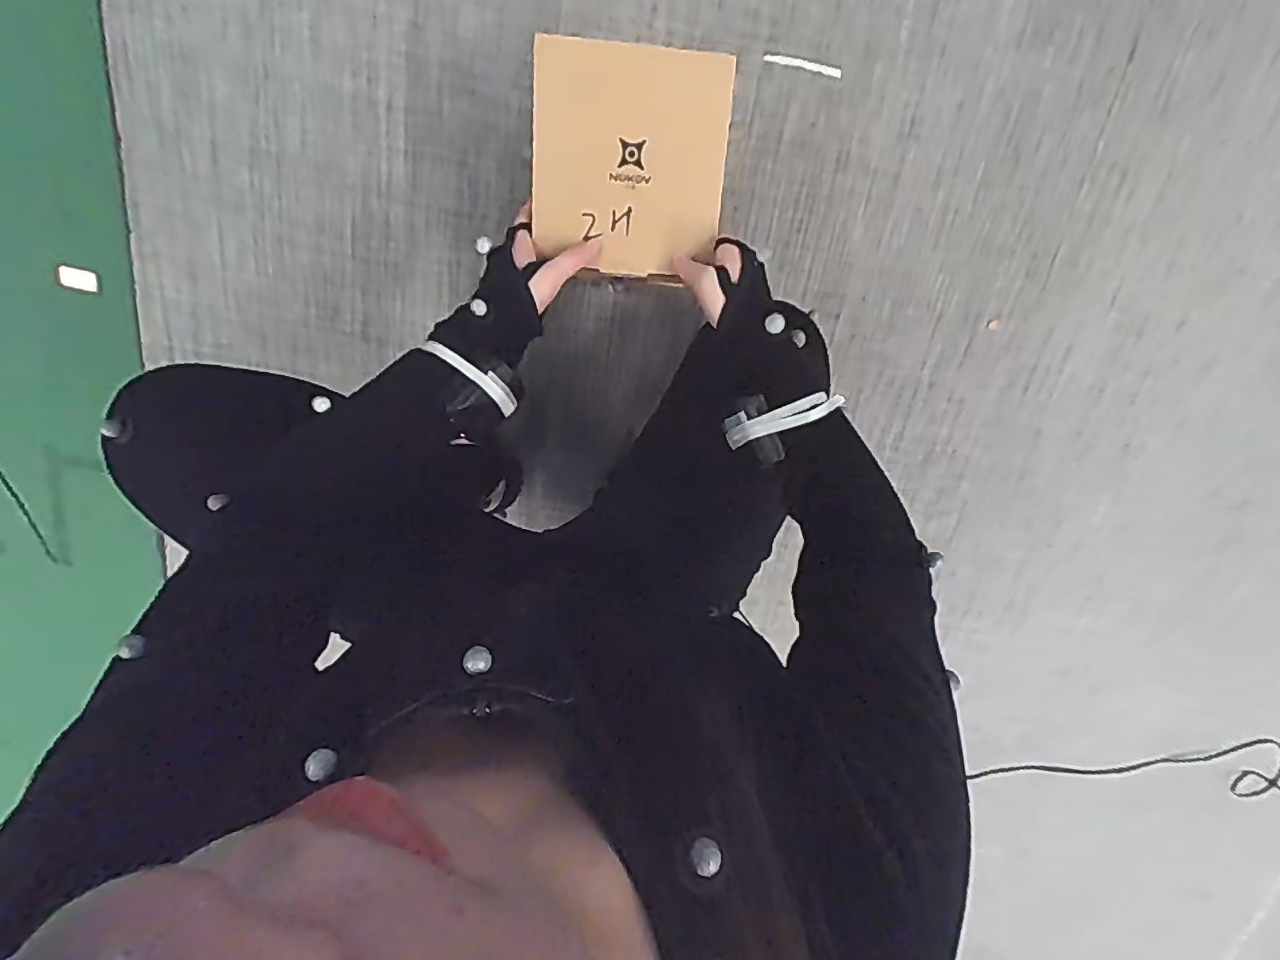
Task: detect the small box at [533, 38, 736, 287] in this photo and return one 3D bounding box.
[{"bbox_3d":[-0.012,-0.295,0.544,0.168,0.176,0.179,4,109,-3],"label":"small box"}]
